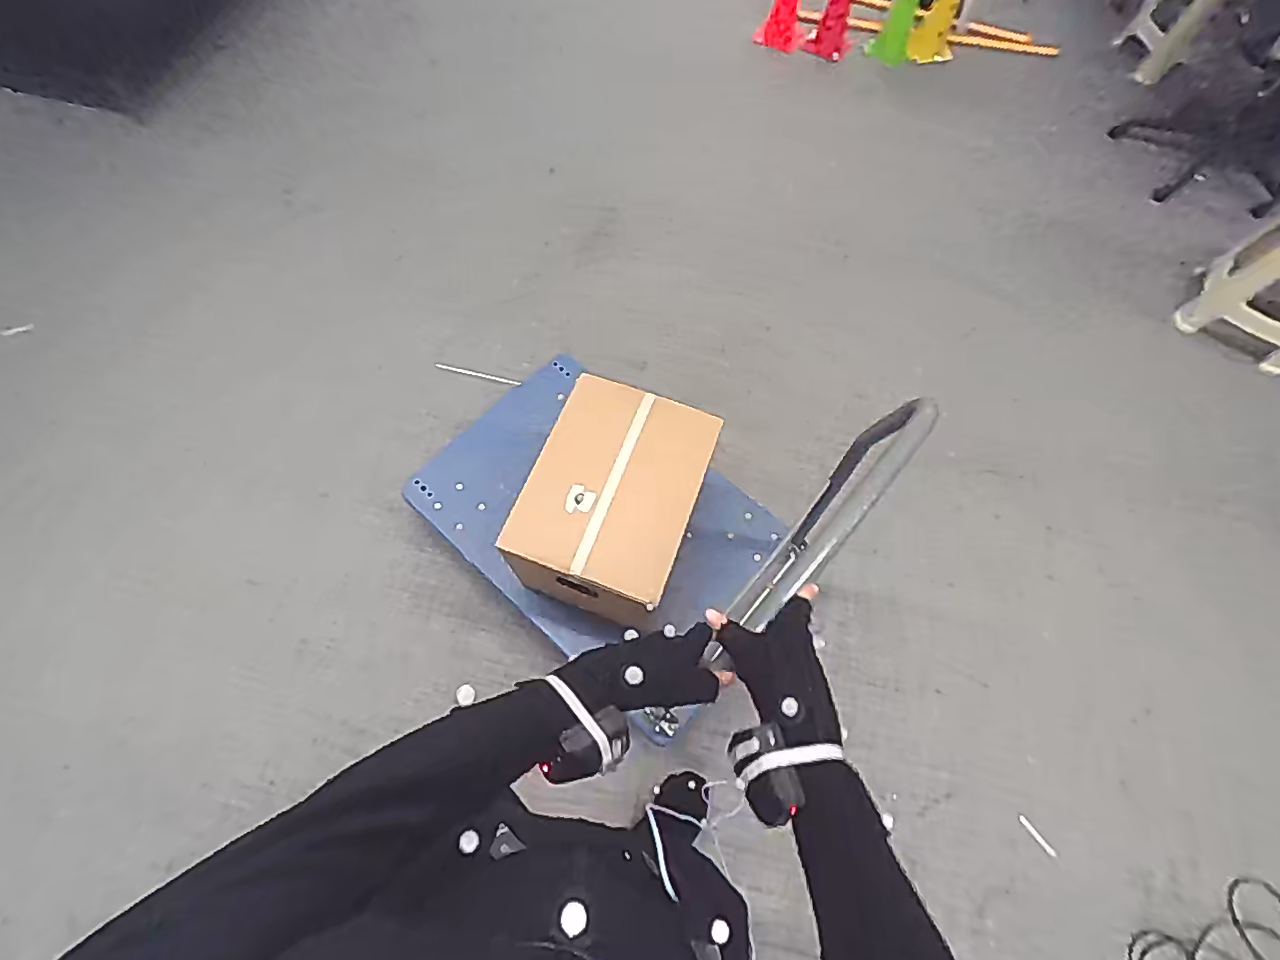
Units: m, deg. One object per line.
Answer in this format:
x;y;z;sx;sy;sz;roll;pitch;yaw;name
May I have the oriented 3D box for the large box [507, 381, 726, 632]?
-0.039;0.068;1.168;0.320;0.320;0.408;20;68;7;large box
